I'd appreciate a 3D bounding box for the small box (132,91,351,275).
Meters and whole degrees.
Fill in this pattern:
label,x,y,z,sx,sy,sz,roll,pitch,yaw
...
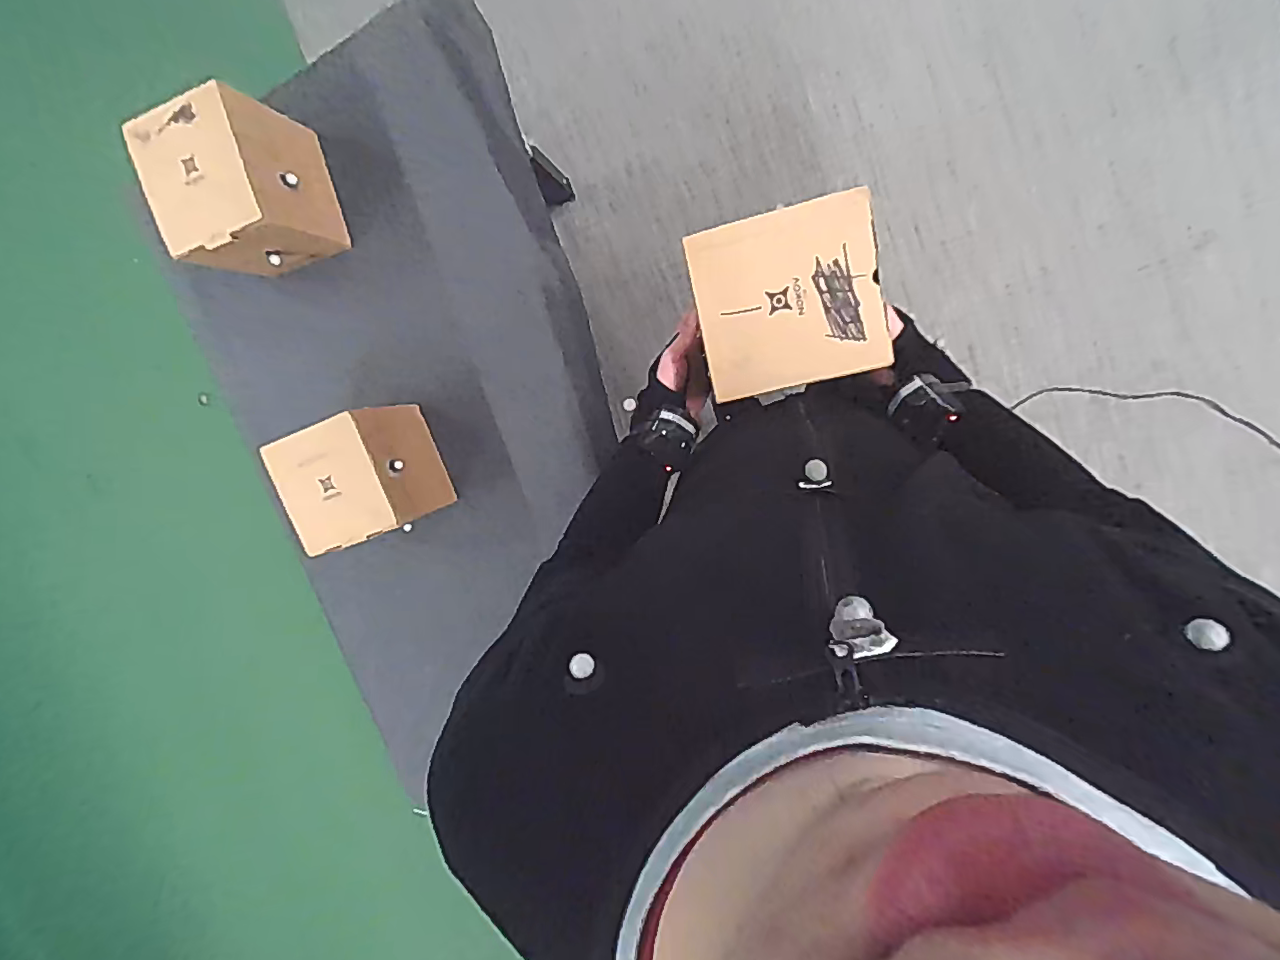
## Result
label,x,y,z,sx,sy,sz,roll,pitch,yaw
small box,-0.564,-0.412,0.792,0.168,0.176,0.179,-12,99,13

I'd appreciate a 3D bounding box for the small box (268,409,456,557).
label,x,y,z,sx,sy,sz,roll,pitch,yaw
small box,-0.423,-0.003,0.852,0.168,0.176,0.179,-19,96,13
